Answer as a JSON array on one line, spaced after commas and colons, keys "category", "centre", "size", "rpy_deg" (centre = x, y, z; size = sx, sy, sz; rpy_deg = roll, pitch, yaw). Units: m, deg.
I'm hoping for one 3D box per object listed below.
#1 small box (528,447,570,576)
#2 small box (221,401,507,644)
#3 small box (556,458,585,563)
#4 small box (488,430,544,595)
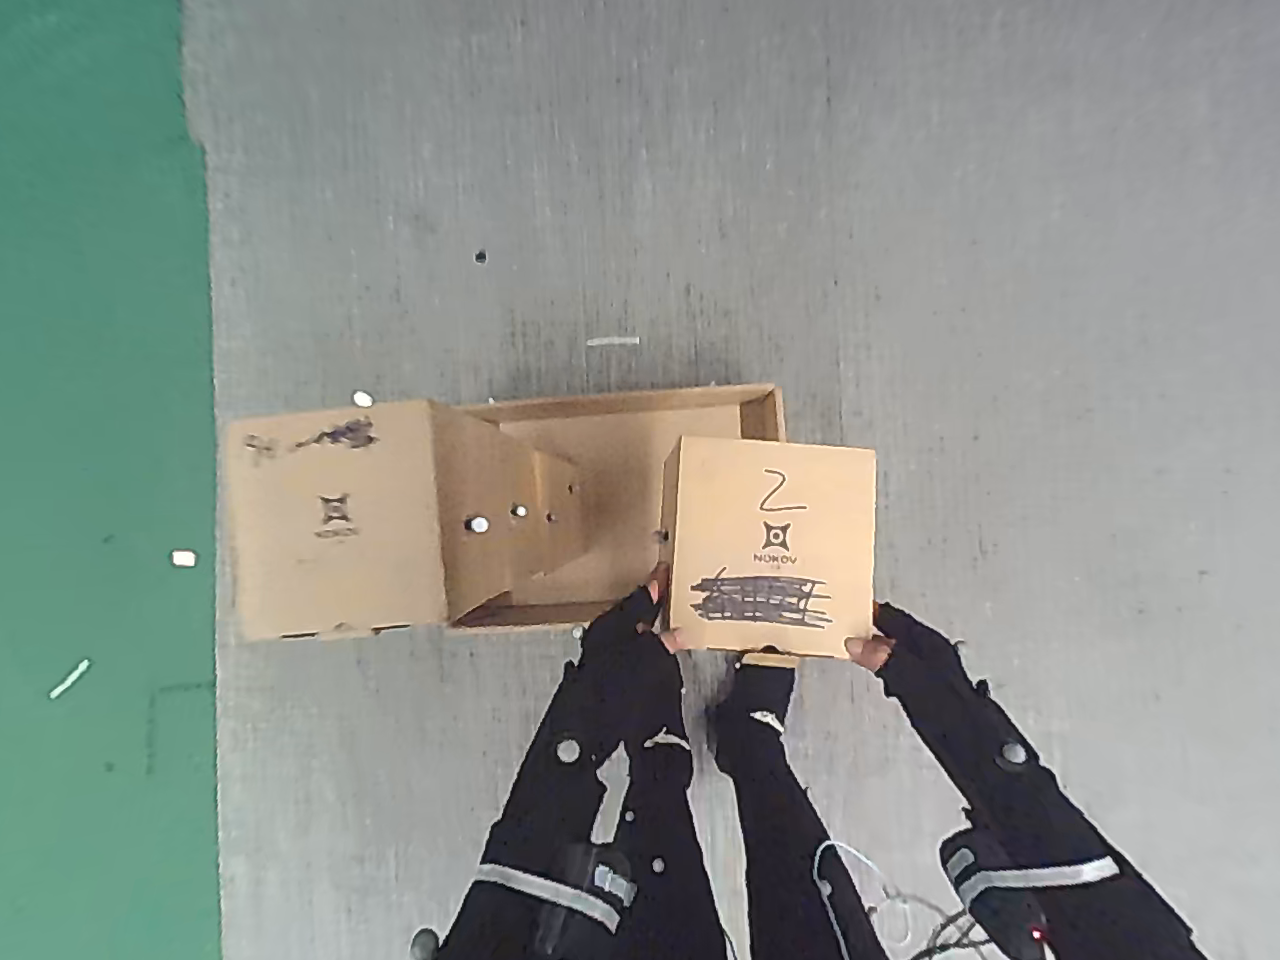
[{"category": "small box", "centre": [-0.204, 0.050, 0.813], "size": [0.168, 0.176, 0.179], "rpy_deg": [-4, 88, 4]}, {"category": "small box", "centre": [-0.226, 0.032, 0.487], "size": [0.168, 0.176, 0.179], "rpy_deg": [-5, 89, 2]}, {"category": "small box", "centre": [-0.194, 0.055, 0.976], "size": [0.168, 0.176, 0.179], "rpy_deg": [-2, 89, 4]}, {"category": "small box", "centre": [-0.218, 0.040, 0.651], "size": [0.168, 0.176, 0.179], "rpy_deg": [-5, 88, 3]}]
